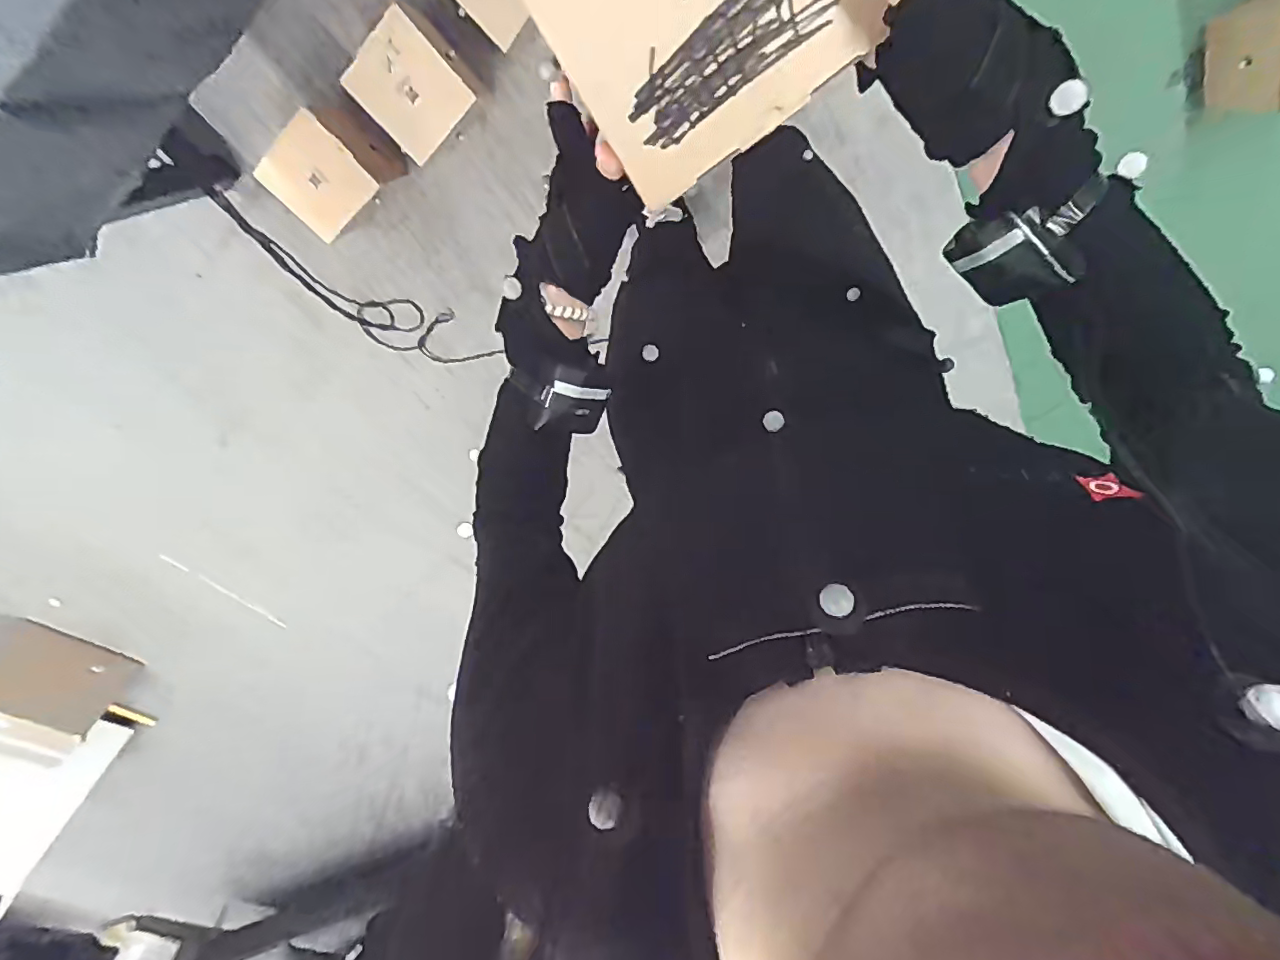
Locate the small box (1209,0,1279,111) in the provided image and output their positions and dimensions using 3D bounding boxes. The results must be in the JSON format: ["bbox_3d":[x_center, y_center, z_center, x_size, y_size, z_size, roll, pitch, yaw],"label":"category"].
[{"bbox_3d":[1.215,-0.825,0.998,0.168,0.176,0.179,-27,123,17],"label":"small box"}]

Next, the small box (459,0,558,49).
[{"bbox_3d":[-0.237,-0.870,0.912,0.179,0.176,0.168,38,117,-25],"label":"small box"}]
